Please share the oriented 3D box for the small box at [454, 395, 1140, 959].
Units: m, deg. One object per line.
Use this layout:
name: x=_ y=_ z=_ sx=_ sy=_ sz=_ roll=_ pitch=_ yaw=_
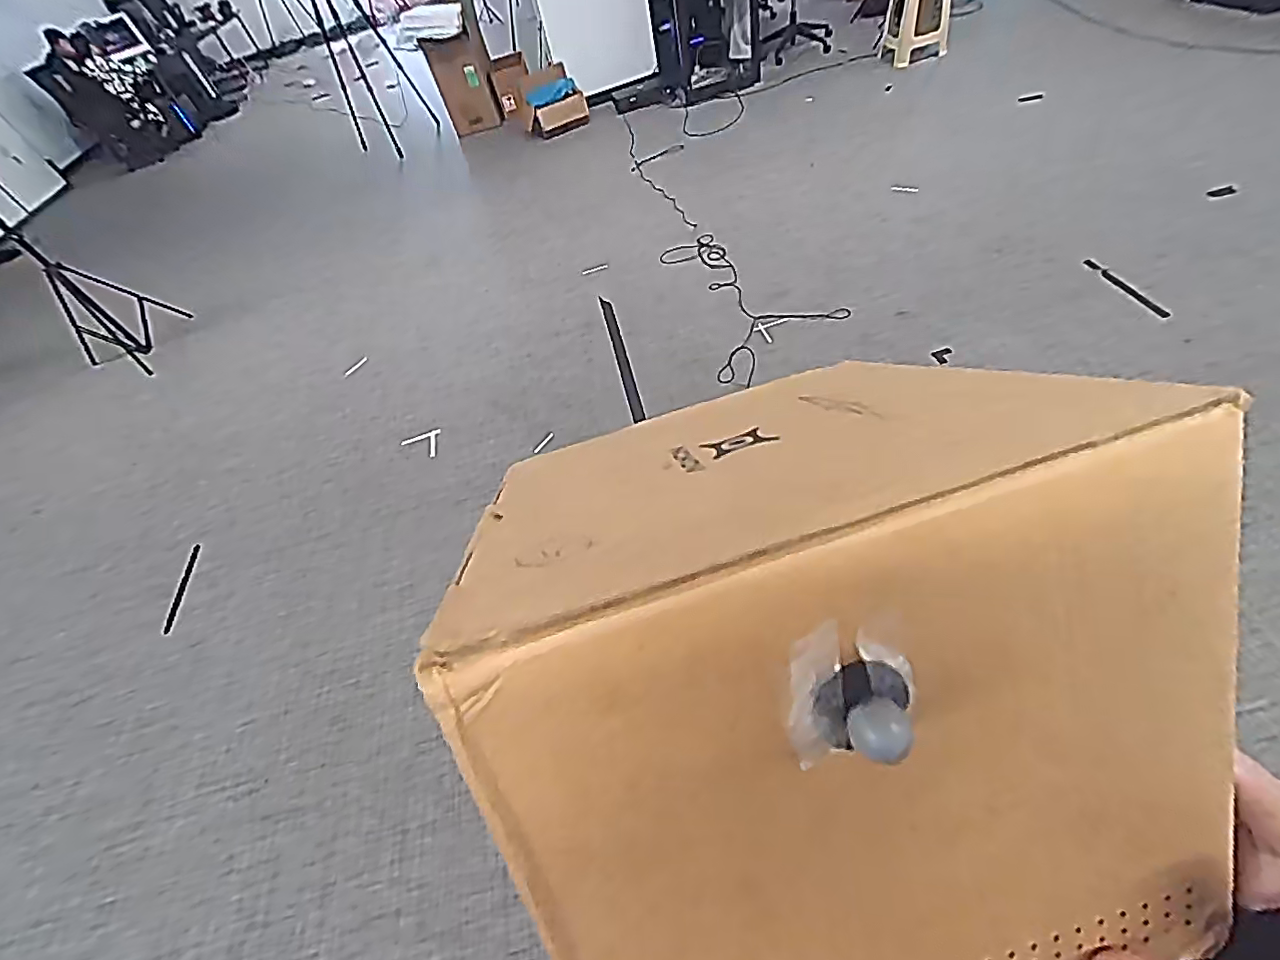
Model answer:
small box: x=0.054 y=0.077 z=0.221 sx=0.179 sy=0.176 sz=0.168 roll=-18 pitch=16 yaw=-2
